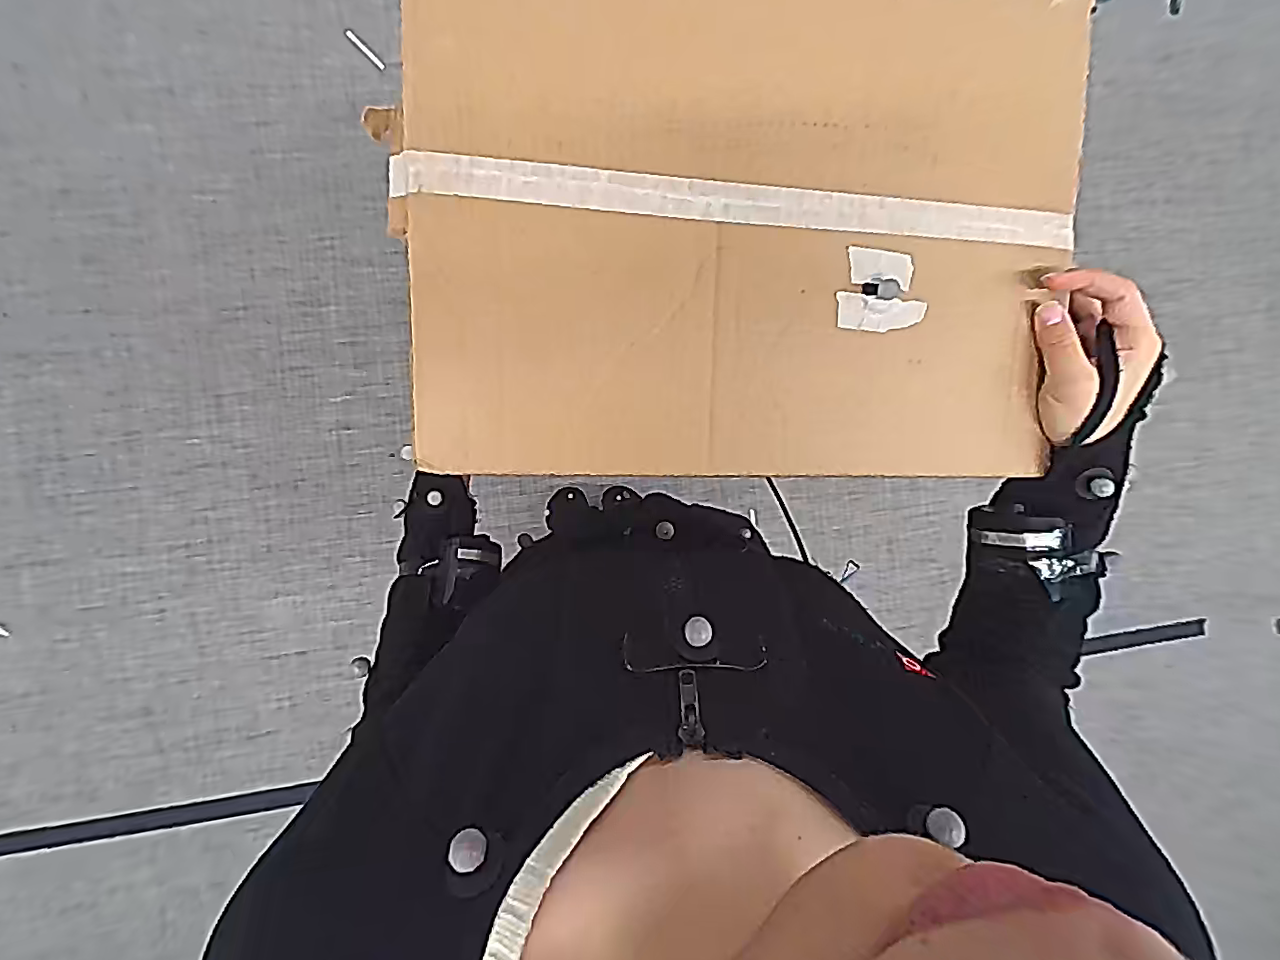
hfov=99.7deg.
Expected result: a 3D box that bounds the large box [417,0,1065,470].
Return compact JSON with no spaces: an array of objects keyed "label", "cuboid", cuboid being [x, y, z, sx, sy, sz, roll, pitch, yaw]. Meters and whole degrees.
[{"label":"large box","cuboid":[0.049,-0.178,0.469,0.408,0.320,0.320,0,97,-12]}]
